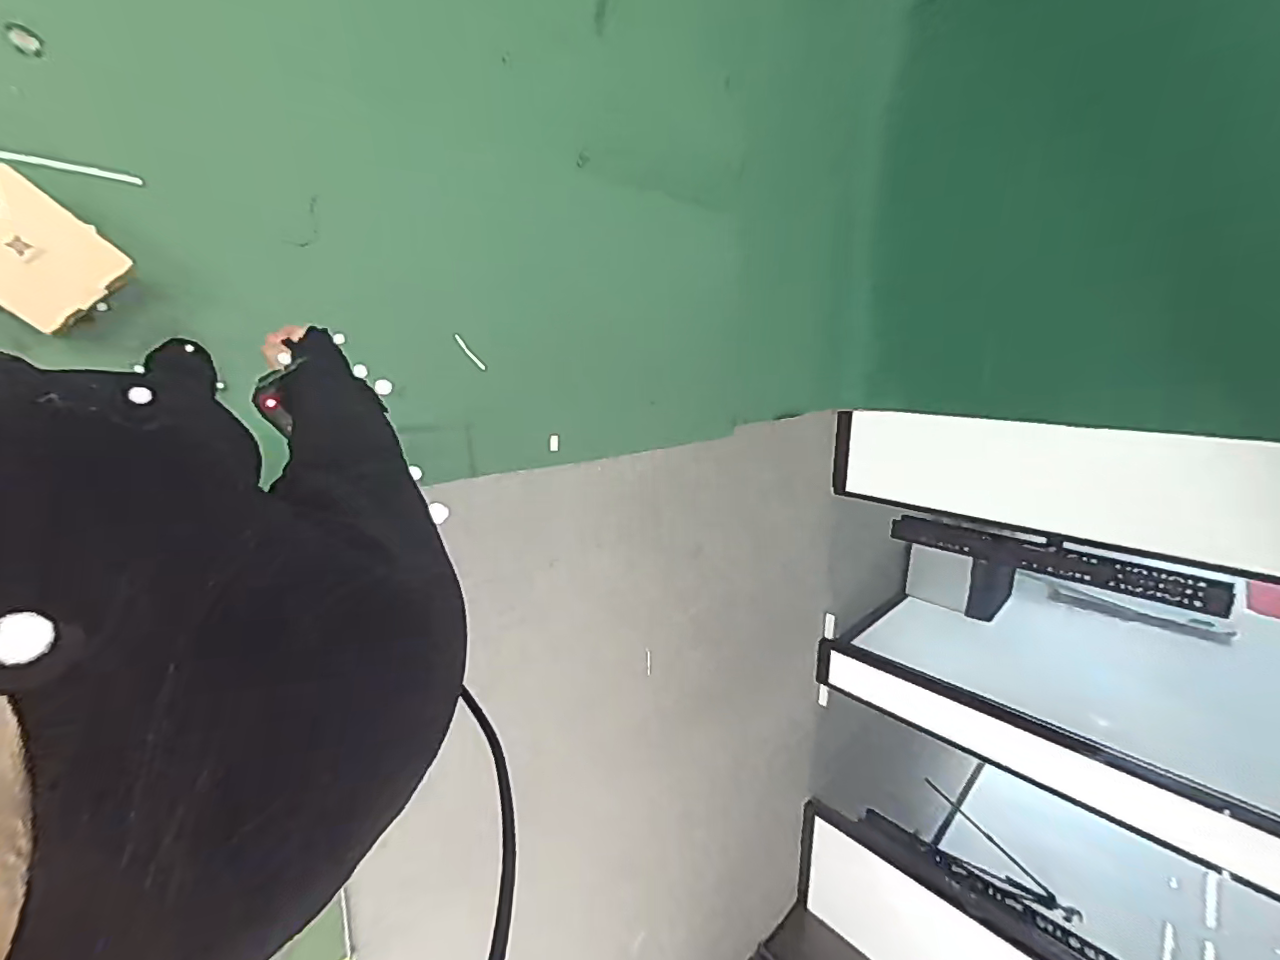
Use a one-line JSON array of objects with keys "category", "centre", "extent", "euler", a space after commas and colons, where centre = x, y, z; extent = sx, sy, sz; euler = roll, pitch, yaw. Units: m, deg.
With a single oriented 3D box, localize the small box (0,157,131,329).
[{"category": "small box", "centre": [-0.949, -0.356, 0.837], "extent": [0.168, 0.176, 0.179], "euler": [-56, 133, -19]}]
